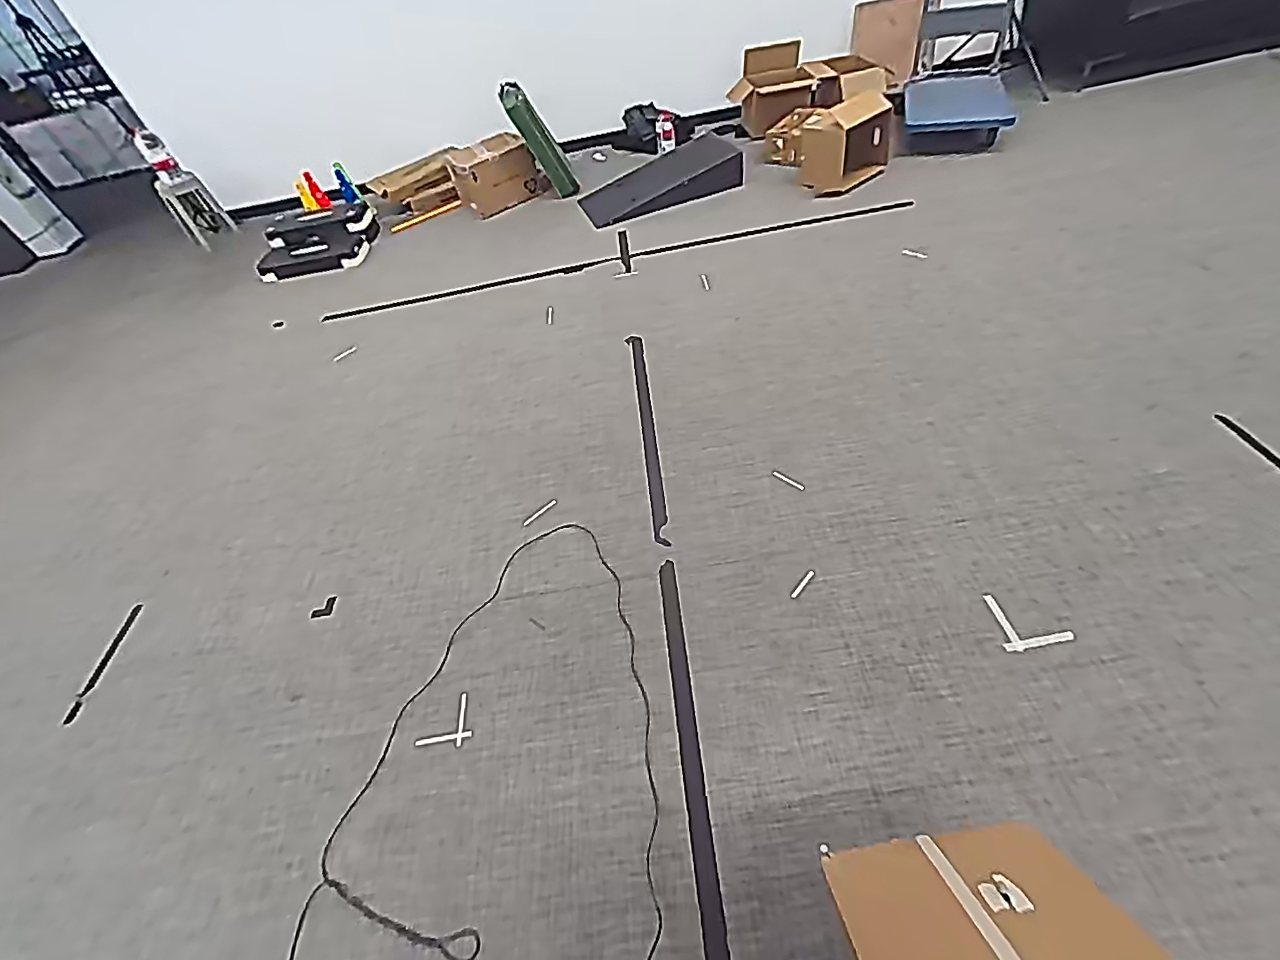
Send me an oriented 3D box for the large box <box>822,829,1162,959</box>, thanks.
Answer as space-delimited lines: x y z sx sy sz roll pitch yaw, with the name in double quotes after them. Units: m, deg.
0.451 0.699 0.620 0.320 0.408 0.320 -12 87 3 "large box"
